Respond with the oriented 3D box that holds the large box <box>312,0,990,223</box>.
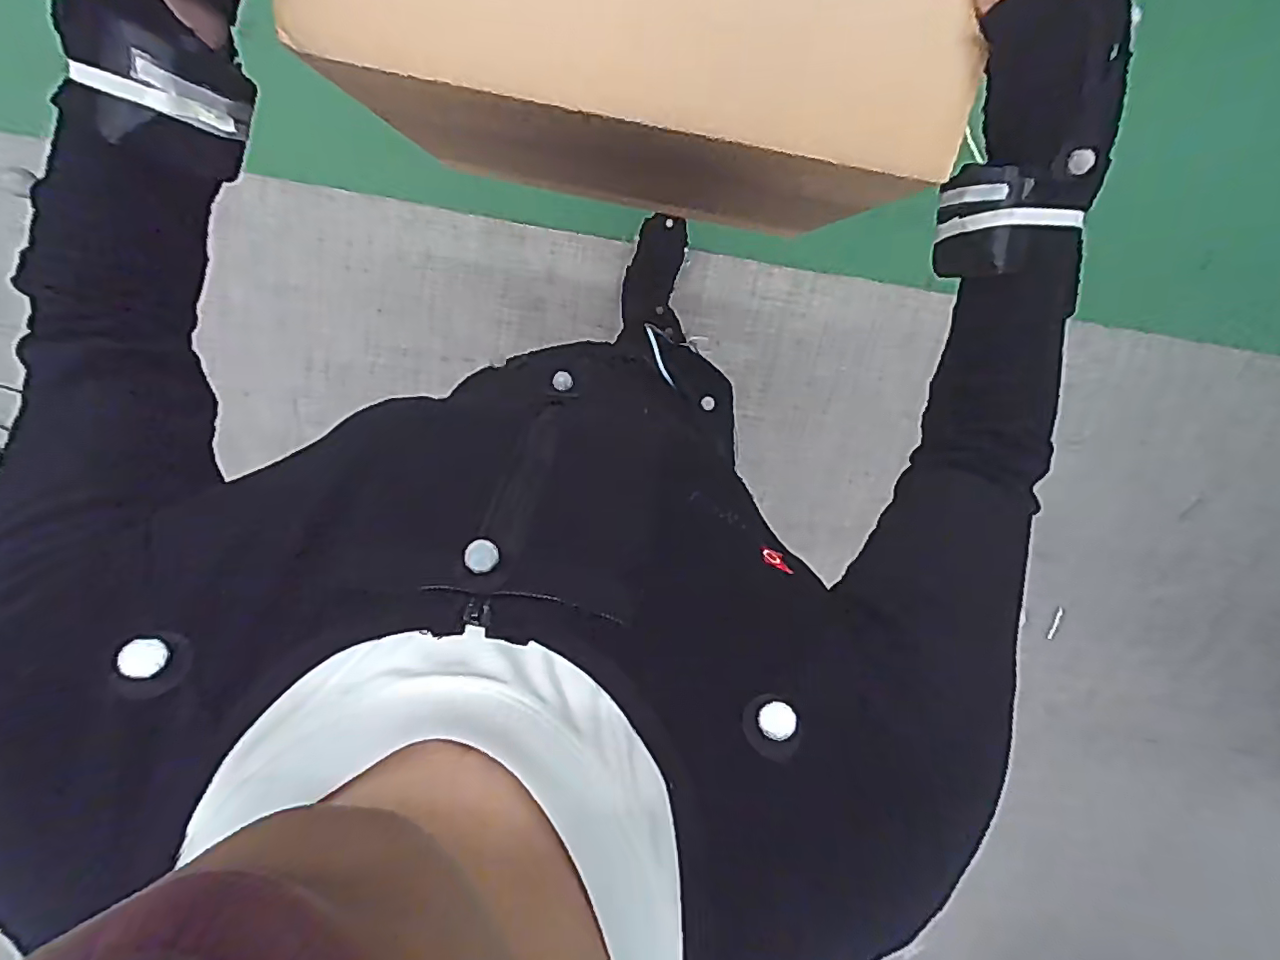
[{"bbox_3d":[0.017,-0.419,0.429,0.408,0.320,0.320,8,109,-5],"label":"large box"}]
